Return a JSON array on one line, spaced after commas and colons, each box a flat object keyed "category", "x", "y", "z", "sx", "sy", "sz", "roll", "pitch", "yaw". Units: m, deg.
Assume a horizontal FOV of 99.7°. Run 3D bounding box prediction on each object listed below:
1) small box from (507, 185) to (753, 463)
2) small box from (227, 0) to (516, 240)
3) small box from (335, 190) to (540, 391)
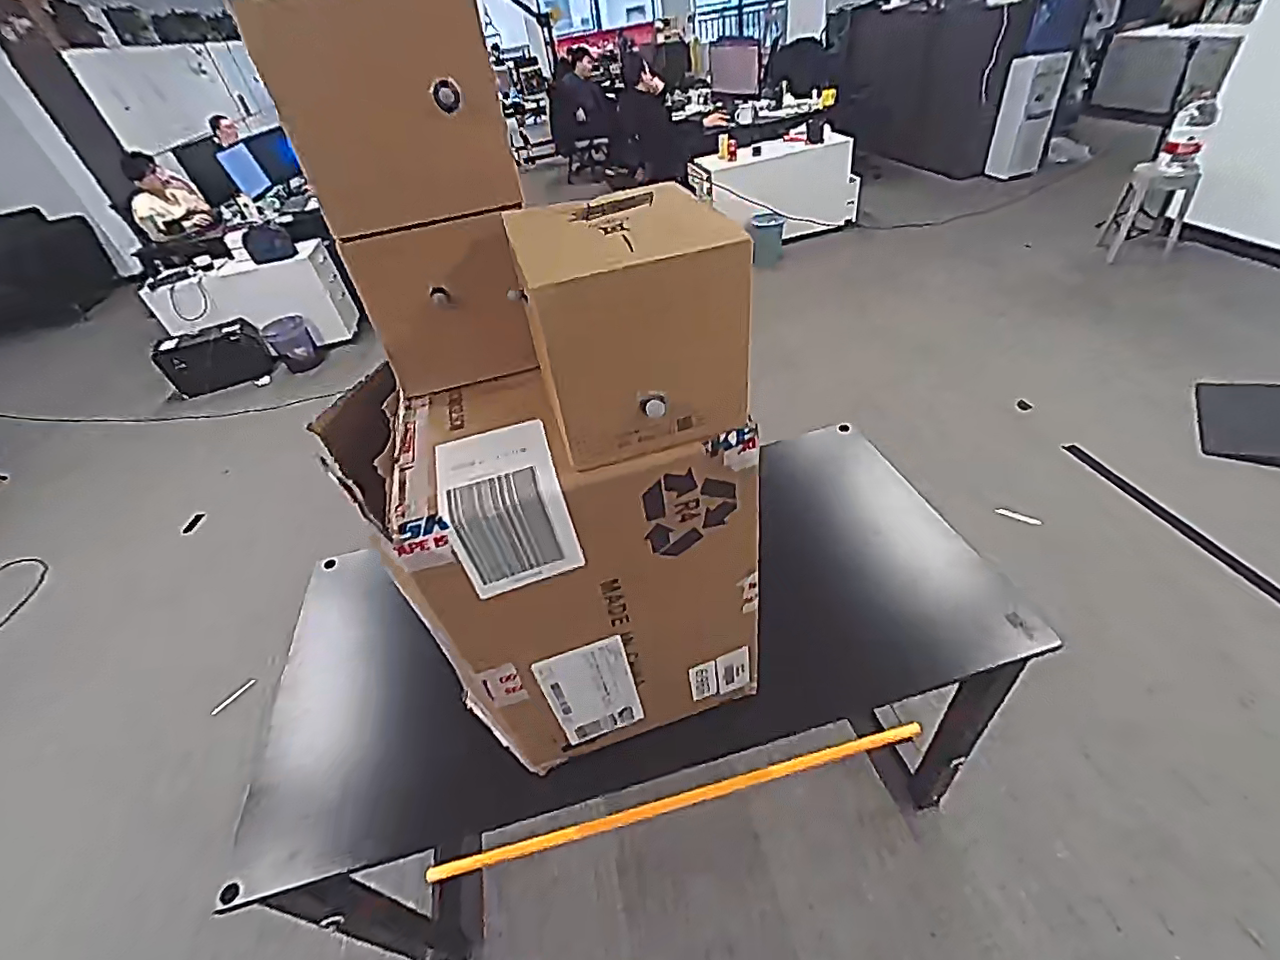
[{"category": "small box", "x": -0.012, "y": -0.143, "z": 0.487, "sx": 0.168, "sy": 0.176, "sz": 0.179, "roll": -16, "pitch": 43, "yaw": -8}, {"category": "small box", "x": -0.223, "y": -0.343, "z": 0.503, "sx": 0.179, "sy": 0.176, "sz": 0.168, "roll": -18, "pitch": 39, "yaw": -10}, {"category": "small box", "x": -0.205, "y": -0.221, "z": 0.610, "sx": 0.179, "sy": 0.176, "sz": 0.168, "roll": -17, "pitch": 40, "yaw": -8}]
